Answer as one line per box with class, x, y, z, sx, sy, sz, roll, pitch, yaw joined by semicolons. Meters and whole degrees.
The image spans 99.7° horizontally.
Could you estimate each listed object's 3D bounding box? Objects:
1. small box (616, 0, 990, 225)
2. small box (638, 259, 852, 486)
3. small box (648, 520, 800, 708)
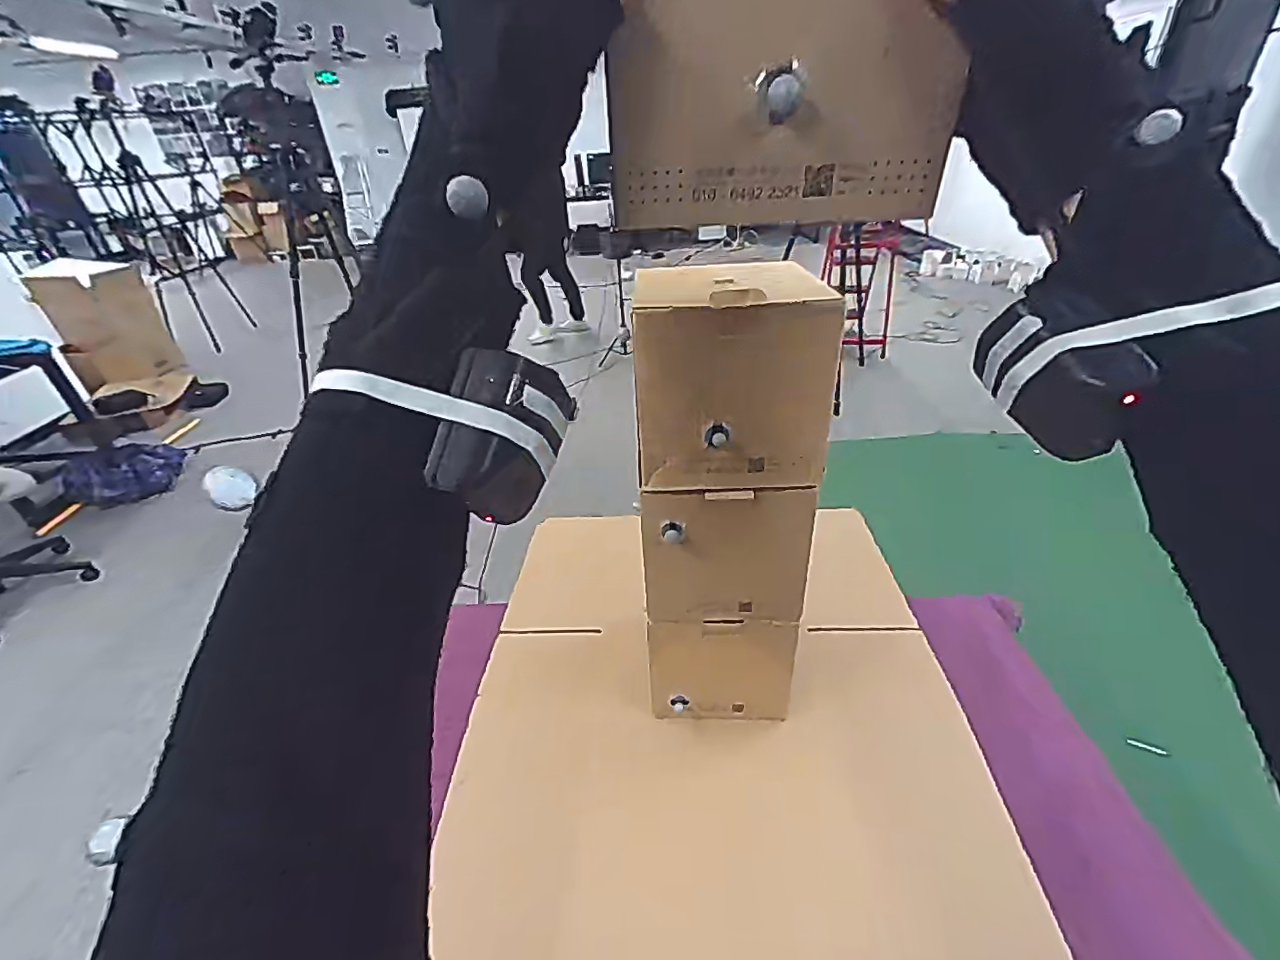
small box;0.075;-0.252;0.305;0.168;0.176;0.179;0;37;4
small box;0.083;-0.109;0.522;0.168;0.176;0.179;-1;31;2
small box;0.097;0.173;0.691;0.168;0.176;0.179;-3;34;2
